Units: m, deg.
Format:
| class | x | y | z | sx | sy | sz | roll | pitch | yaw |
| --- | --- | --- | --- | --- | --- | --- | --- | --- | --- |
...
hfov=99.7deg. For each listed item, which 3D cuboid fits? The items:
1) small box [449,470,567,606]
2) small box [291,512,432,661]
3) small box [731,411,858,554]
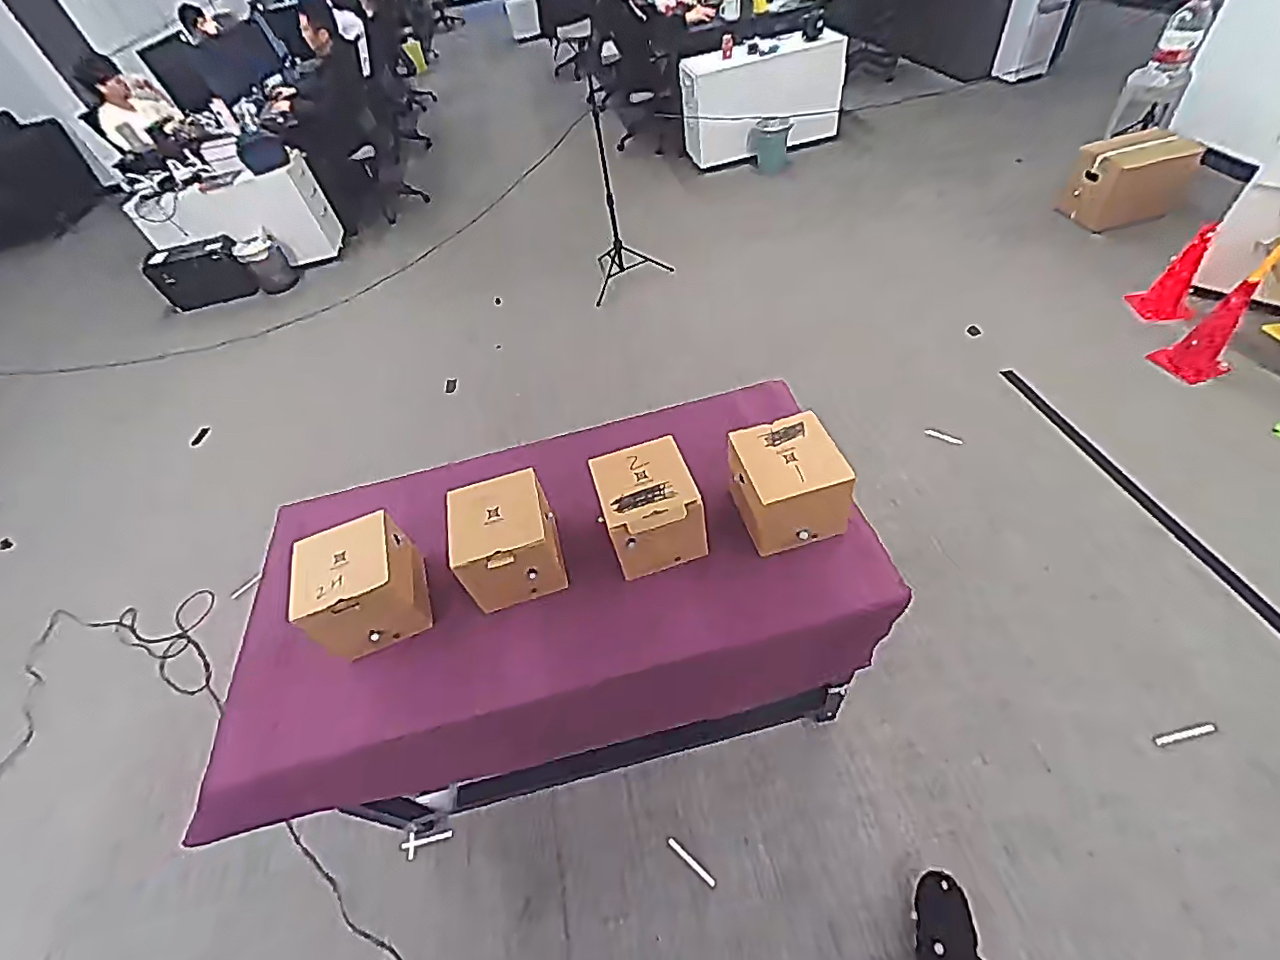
| class | x | y | z | sx | sy | sz | roll | pitch | yaw |
| --- | --- | --- | --- | --- | --- | --- | --- | --- | --- |
| small box | -0.242 | 0.115 | 1.006 | 0.168 | 0.176 | 0.179 | -16 | 49 | -4 |
| small box | -0.499 | 0.195 | 0.985 | 0.168 | 0.176 | 0.179 | -22 | 50 | -7 |
| small box | 0.272 | 0.006 | 0.994 | 0.168 | 0.176 | 0.179 | -16 | 50 | -2 |
